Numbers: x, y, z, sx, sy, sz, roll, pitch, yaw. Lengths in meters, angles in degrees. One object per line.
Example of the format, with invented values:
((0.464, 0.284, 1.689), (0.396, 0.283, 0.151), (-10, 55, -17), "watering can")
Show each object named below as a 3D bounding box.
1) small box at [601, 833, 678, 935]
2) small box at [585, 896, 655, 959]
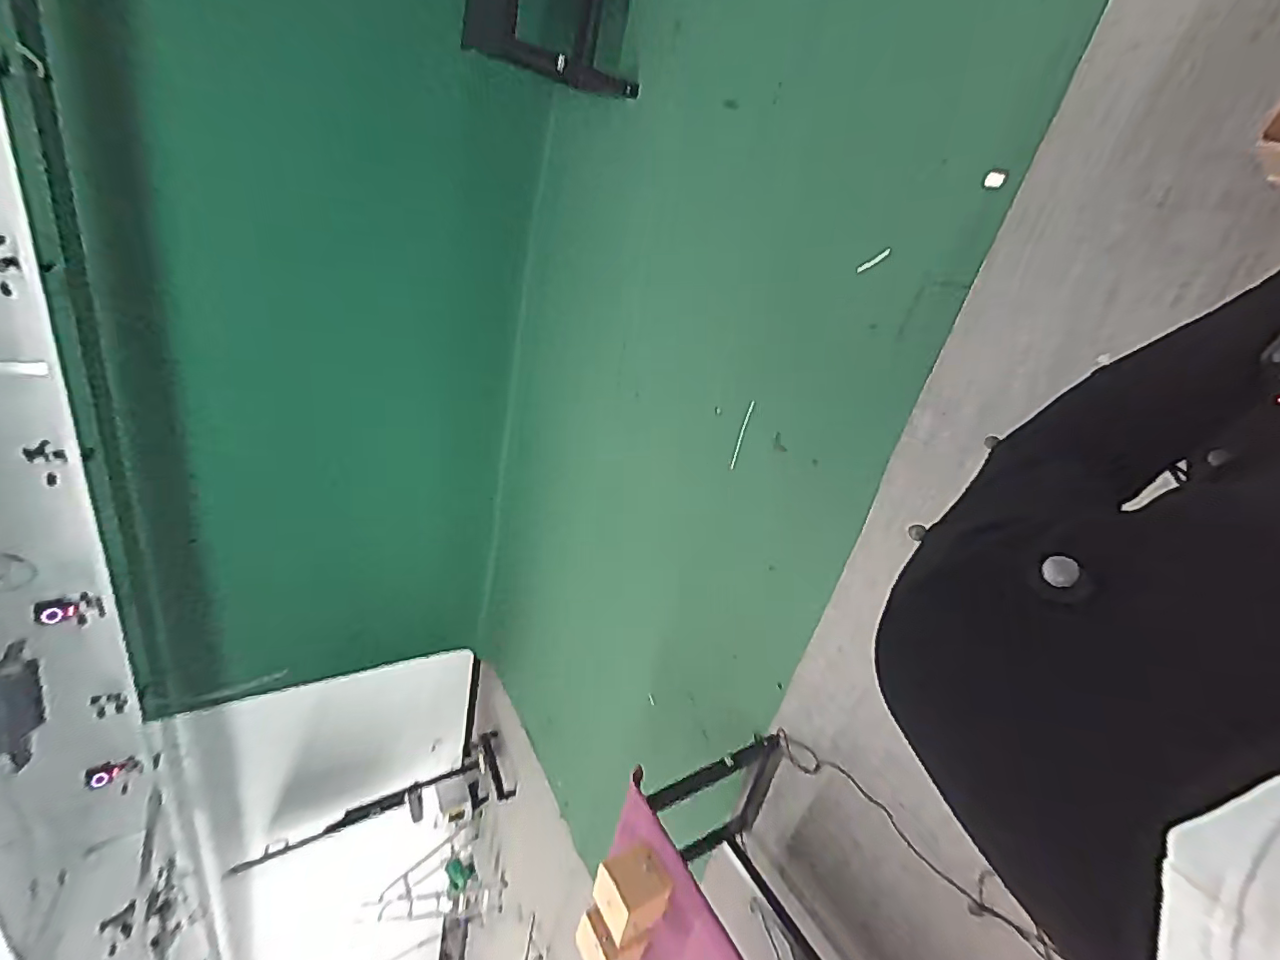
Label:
((-0.001, 1.283, 1.727), (0.168, 0.176, 0.179), (38, 125, 43), "small box")
((-0.068, 1.547, 1.866), (0.168, 0.176, 0.179), (41, 127, 43), "small box")
